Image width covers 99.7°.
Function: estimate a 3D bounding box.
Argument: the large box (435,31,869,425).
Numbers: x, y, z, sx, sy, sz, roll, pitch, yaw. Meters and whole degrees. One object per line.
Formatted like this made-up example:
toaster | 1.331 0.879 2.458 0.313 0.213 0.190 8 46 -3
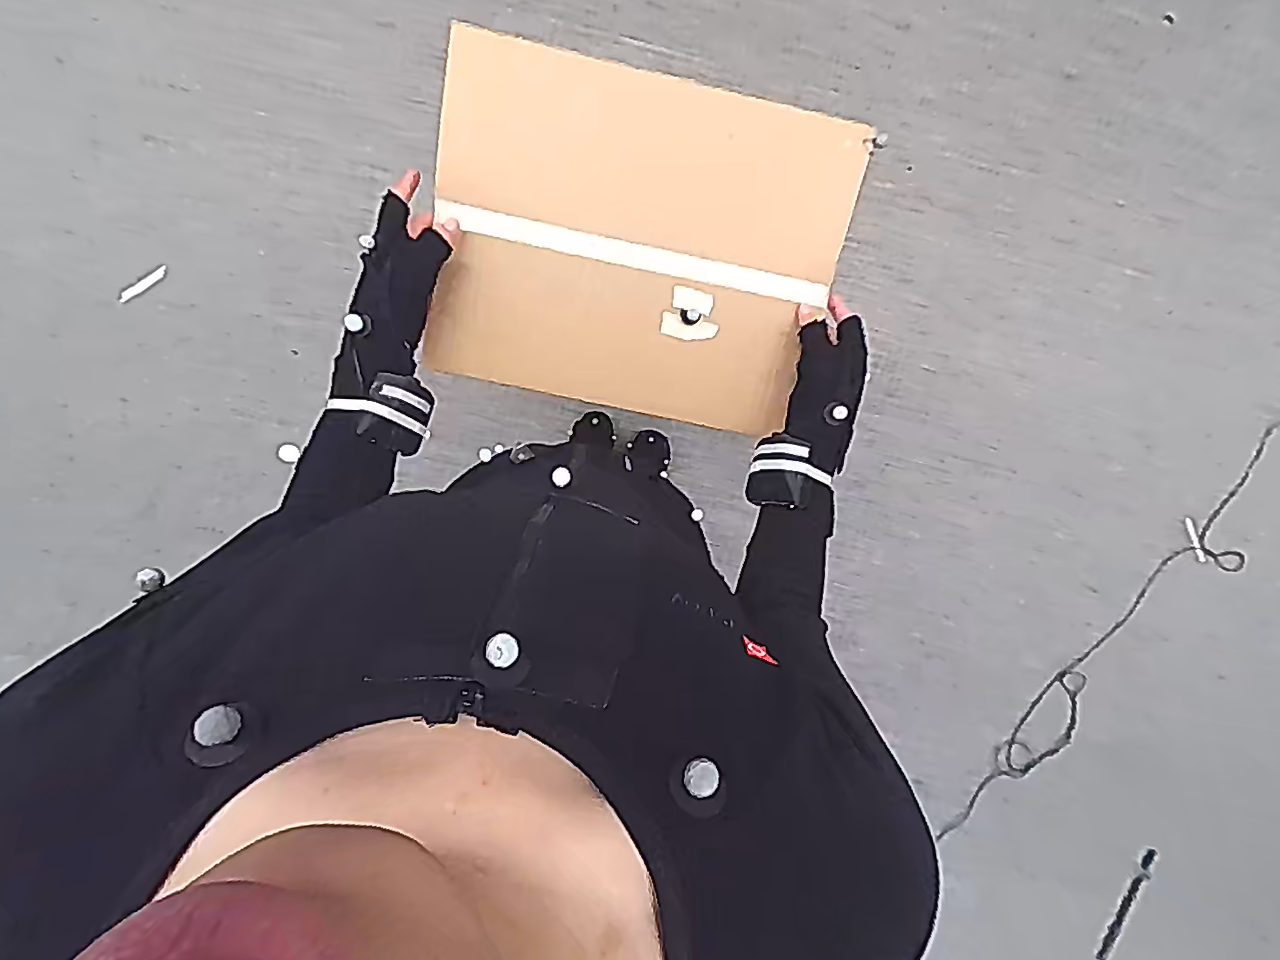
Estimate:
large box | -0.004 -0.279 0.691 0.408 0.320 0.320 10 107 -5
